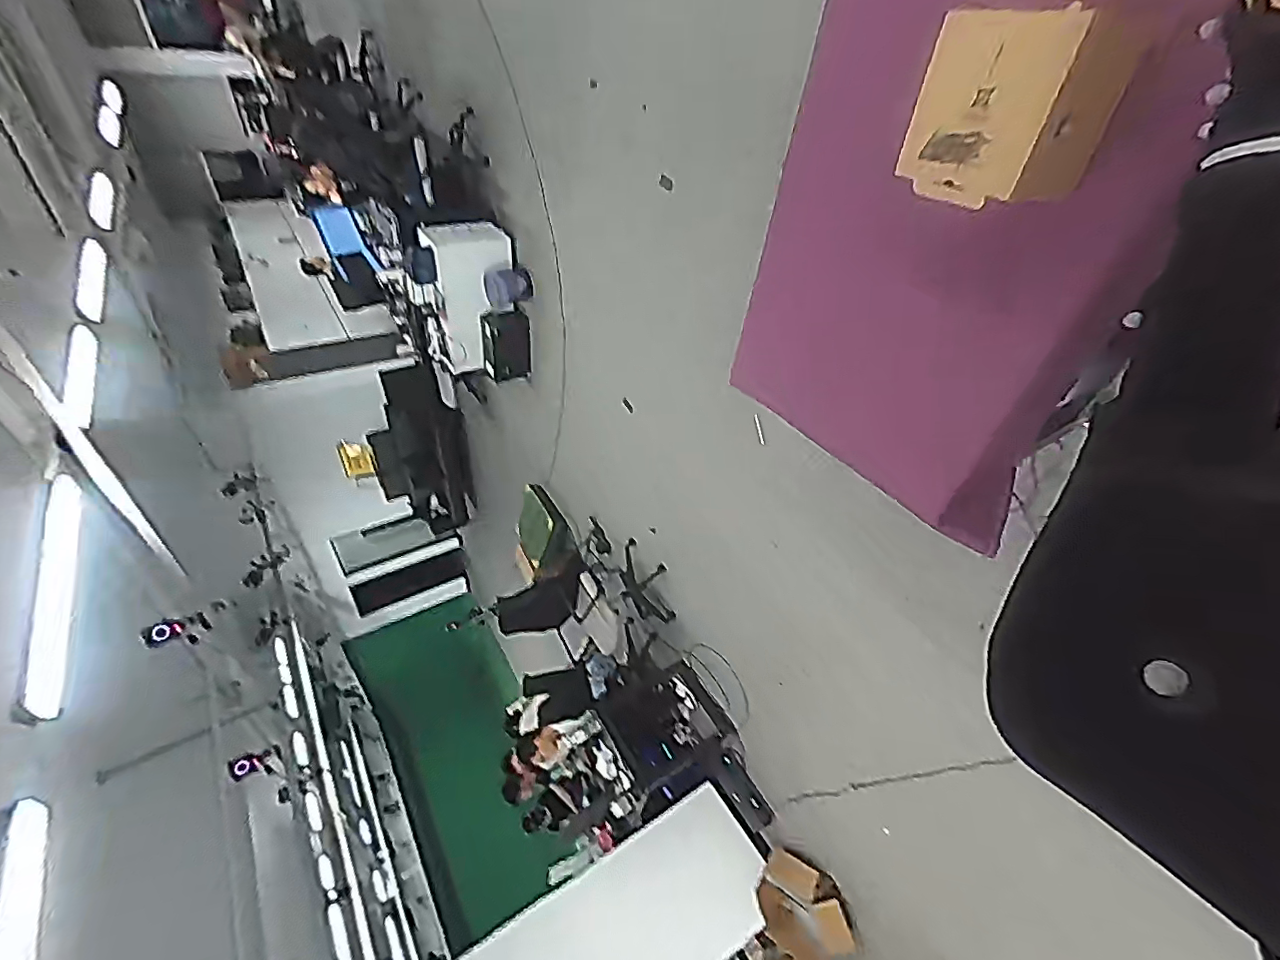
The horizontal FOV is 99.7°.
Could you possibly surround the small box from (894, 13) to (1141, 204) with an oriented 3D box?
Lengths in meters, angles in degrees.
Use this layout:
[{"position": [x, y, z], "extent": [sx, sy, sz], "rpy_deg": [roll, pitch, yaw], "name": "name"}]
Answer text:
[{"position": [0.466, -0.465, 0.680], "extent": [0.168, 0.176, 0.179], "rpy_deg": [45, 143, 39], "name": "small box"}]
